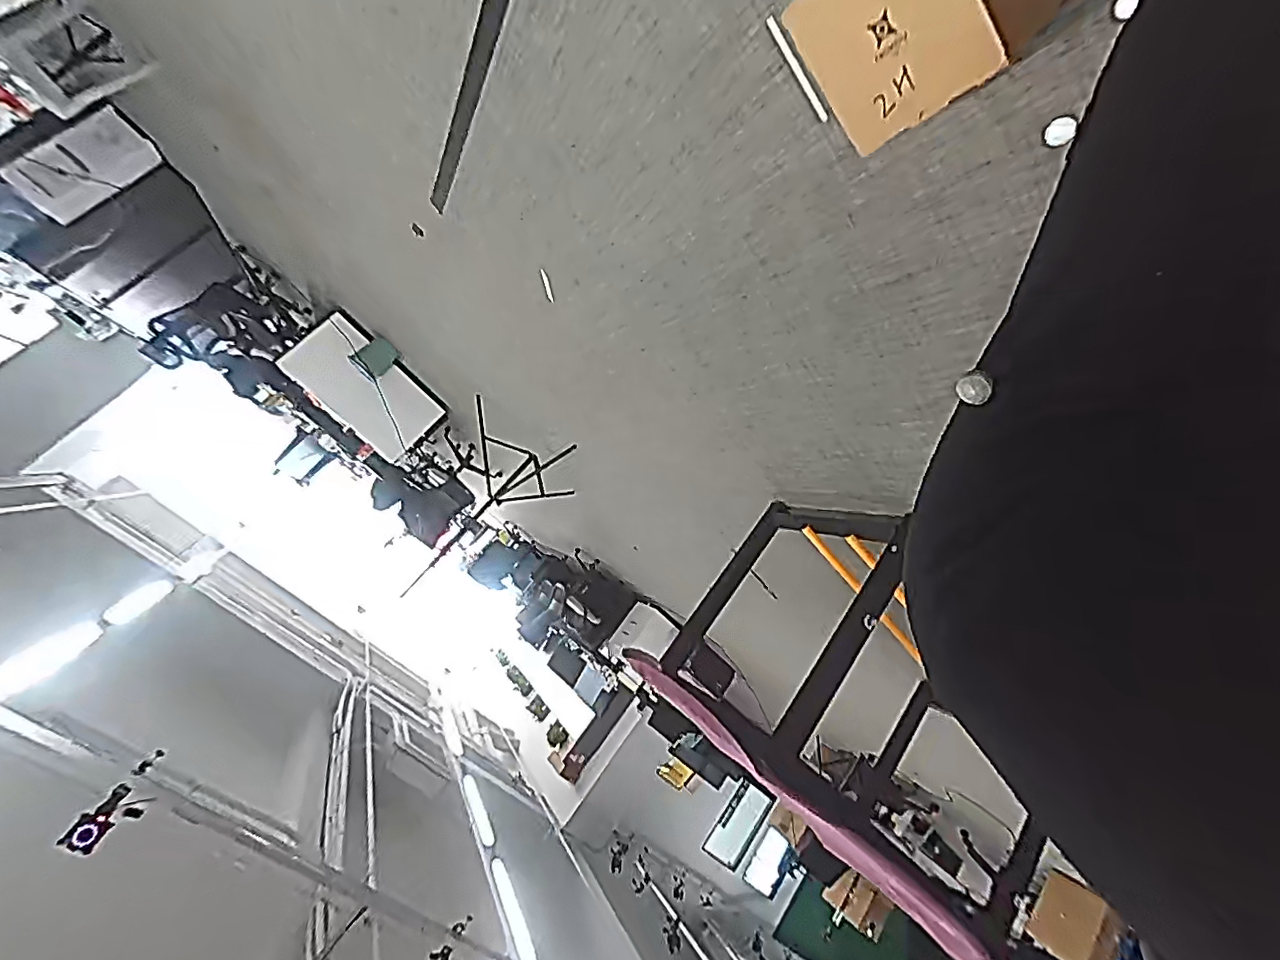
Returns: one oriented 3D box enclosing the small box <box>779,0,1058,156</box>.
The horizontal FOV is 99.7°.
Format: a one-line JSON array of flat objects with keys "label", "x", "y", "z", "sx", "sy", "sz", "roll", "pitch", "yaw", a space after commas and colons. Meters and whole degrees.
[{"label": "small box", "x": 0.283, "y": -0.486, "z": 0.544, "sx": 0.179, "sy": 0.176, "sz": 0.168, "roll": 45, "pitch": 162, "yaw": -20}]
